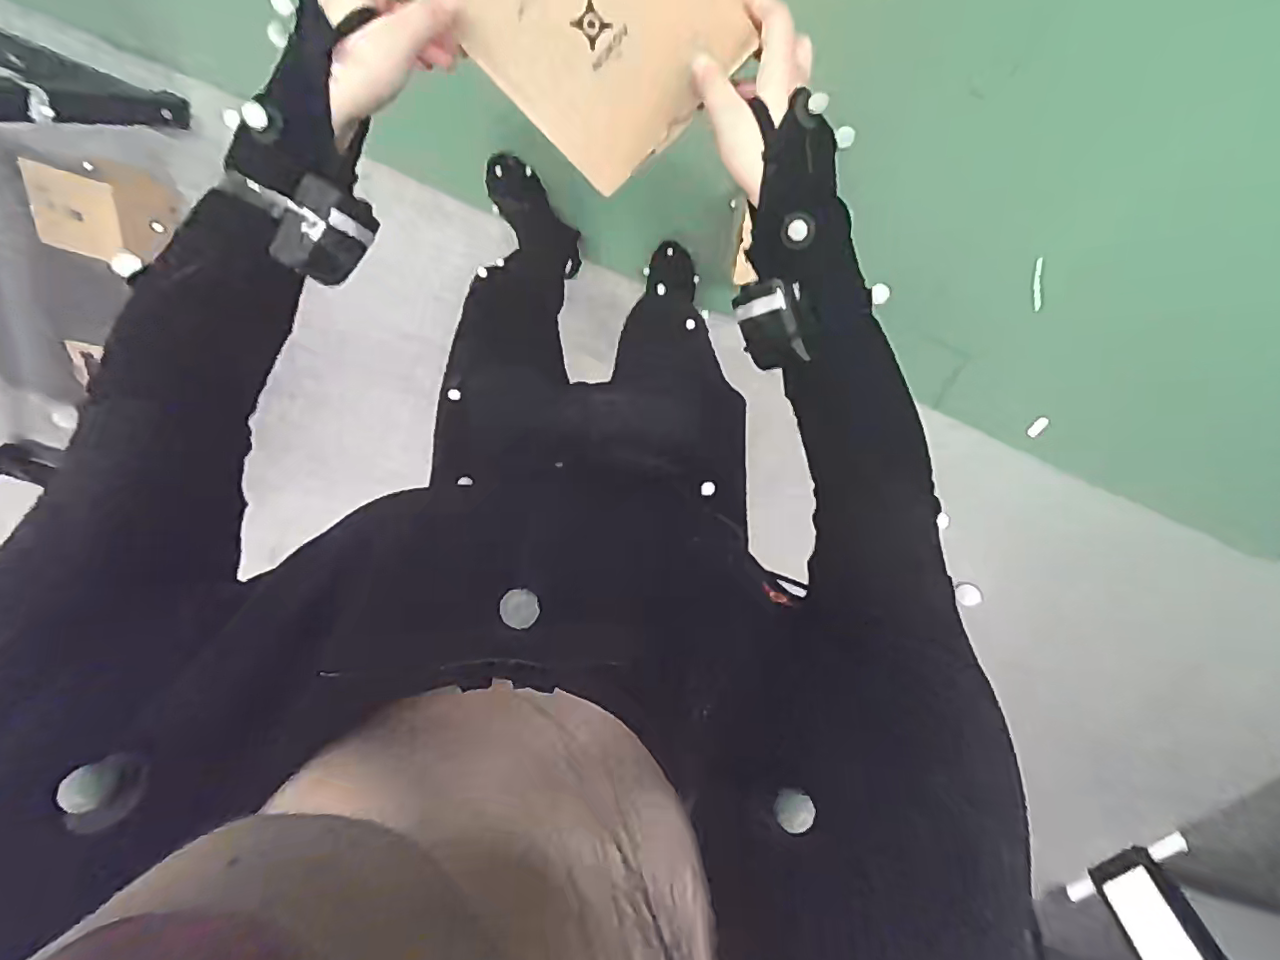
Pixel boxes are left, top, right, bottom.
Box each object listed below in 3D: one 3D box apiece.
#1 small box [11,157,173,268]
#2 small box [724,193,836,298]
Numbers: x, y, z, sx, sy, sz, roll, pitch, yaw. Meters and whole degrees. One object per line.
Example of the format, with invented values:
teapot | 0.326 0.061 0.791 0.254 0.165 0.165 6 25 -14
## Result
small box | -1.151 -0.579 1.160 0.179 0.176 0.168 17 121 -7
small box | 0.278 -0.491 1.123 0.179 0.176 0.168 7 122 -2
